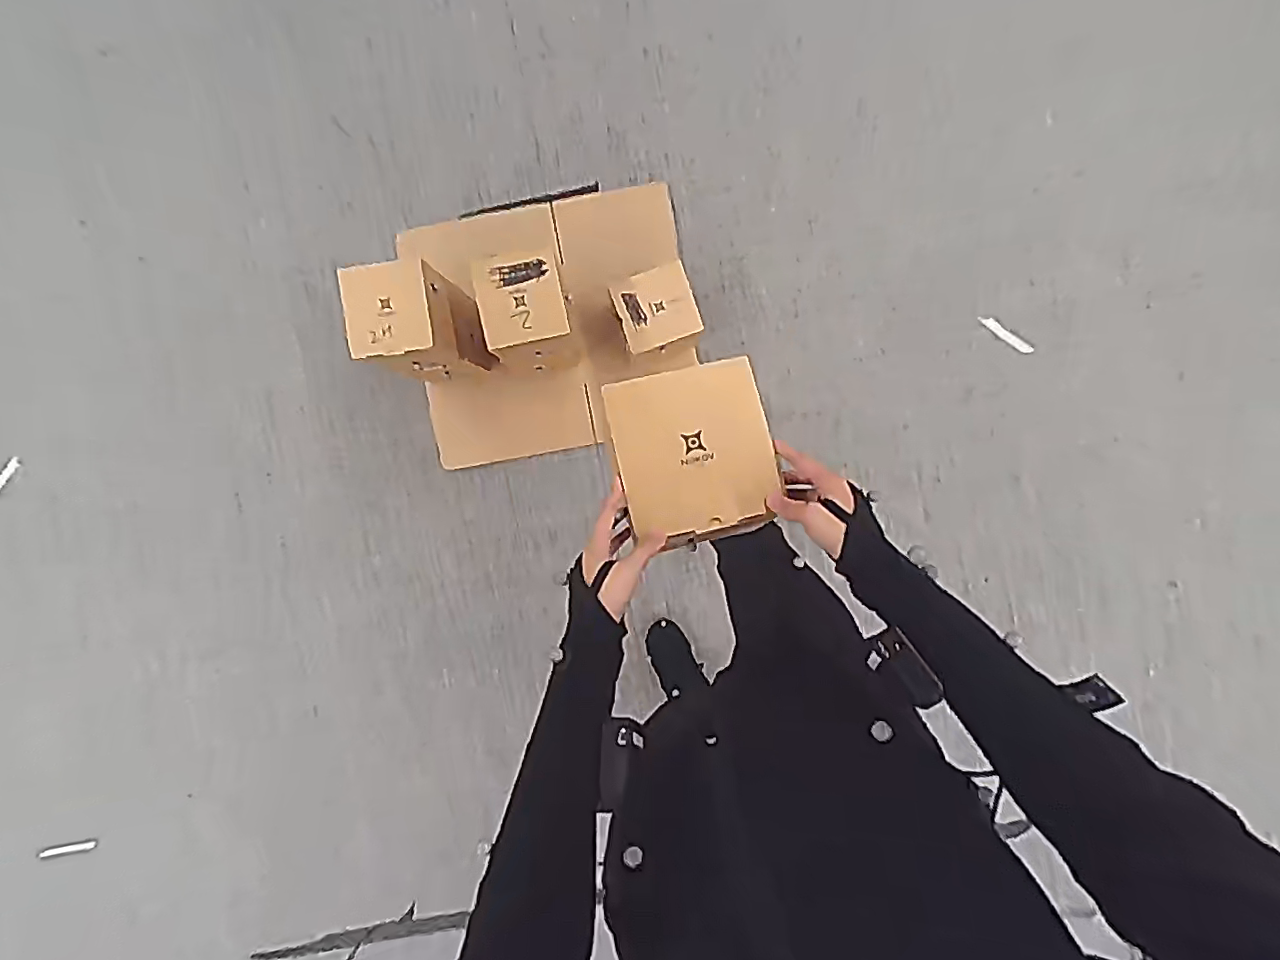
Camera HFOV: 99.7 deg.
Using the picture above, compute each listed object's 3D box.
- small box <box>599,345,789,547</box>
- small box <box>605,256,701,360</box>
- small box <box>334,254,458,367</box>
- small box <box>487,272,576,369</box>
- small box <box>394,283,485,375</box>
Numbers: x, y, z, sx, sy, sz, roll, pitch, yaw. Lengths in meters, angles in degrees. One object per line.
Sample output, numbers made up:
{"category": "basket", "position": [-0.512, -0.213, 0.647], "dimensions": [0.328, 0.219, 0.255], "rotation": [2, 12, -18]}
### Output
{"category": "small box", "position": [0.049, -0.029, 0.633], "dimensions": [0.168, 0.176, 0.179], "rotation": [-13, 79, -5]}
{"category": "small box", "position": [0.030, -0.392, 1.266], "dimensions": [0.179, 0.176, 0.168], "rotation": [-19, 94, 1]}
{"category": "small box", "position": [-0.489, -0.338, 1.106], "dimensions": [0.168, 0.176, 0.179], "rotation": [-7, 94, 1]}
{"category": "small box", "position": [-0.248, -0.366, 1.269], "dimensions": [0.168, 0.176, 0.179], "rotation": [-7, 94, 0]}
{"category": "small box", "position": [-0.477, -0.345, 1.271], "dimensions": [0.168, 0.176, 0.179], "rotation": [-8, 95, 1]}
